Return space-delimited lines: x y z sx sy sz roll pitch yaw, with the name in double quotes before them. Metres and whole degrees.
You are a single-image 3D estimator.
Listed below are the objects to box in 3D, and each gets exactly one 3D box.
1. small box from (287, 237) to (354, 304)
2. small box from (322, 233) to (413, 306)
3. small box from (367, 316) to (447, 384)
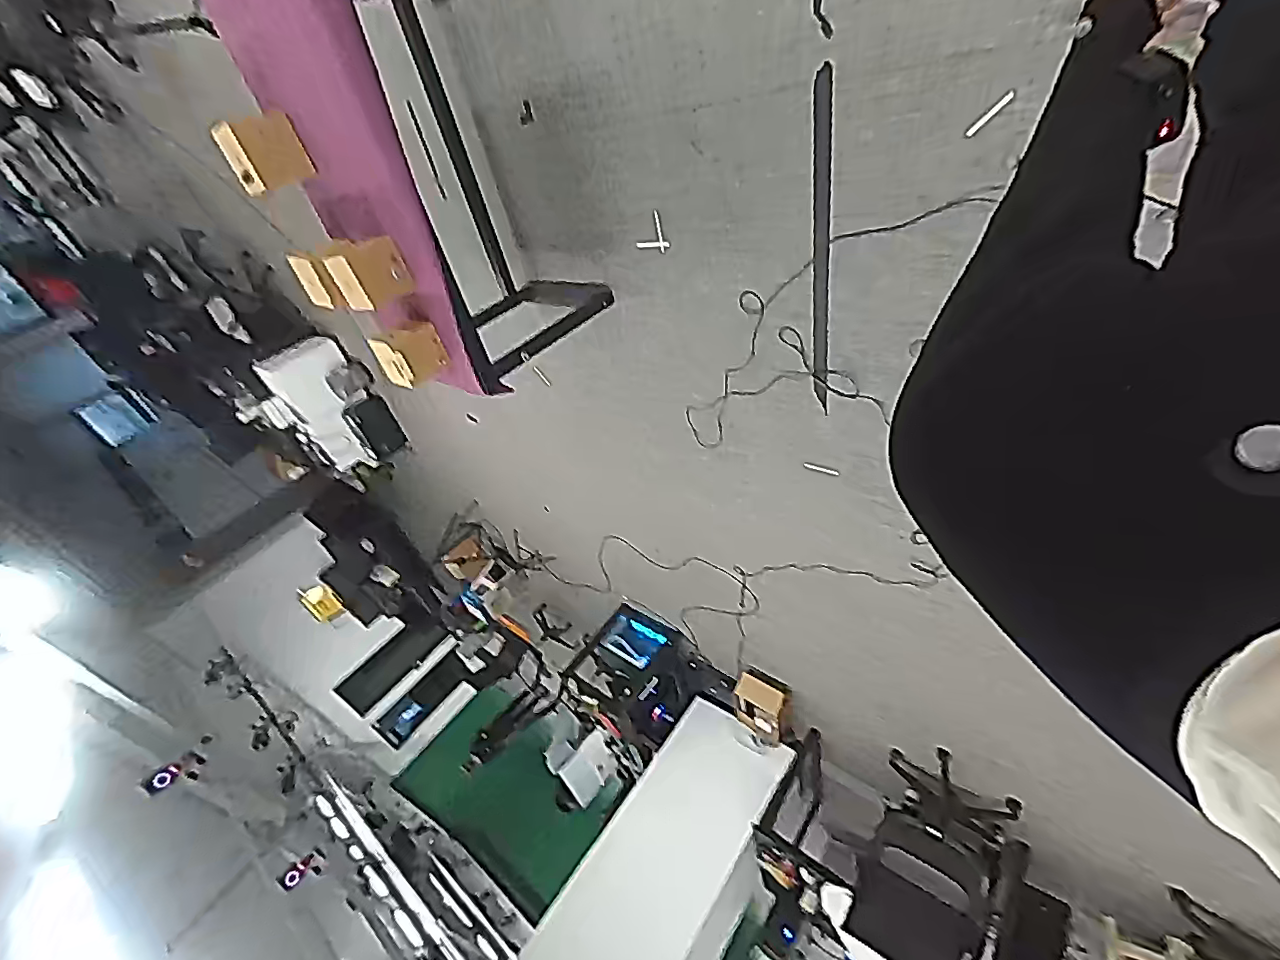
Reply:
"small box" -1.074 -0.735 1.883 0.179 0.176 0.168 21 140 34
"small box" -0.857 -0.668 1.714 0.179 0.176 0.168 16 138 40
"small box" -0.802 -0.458 1.883 0.179 0.176 0.168 19 139 38
